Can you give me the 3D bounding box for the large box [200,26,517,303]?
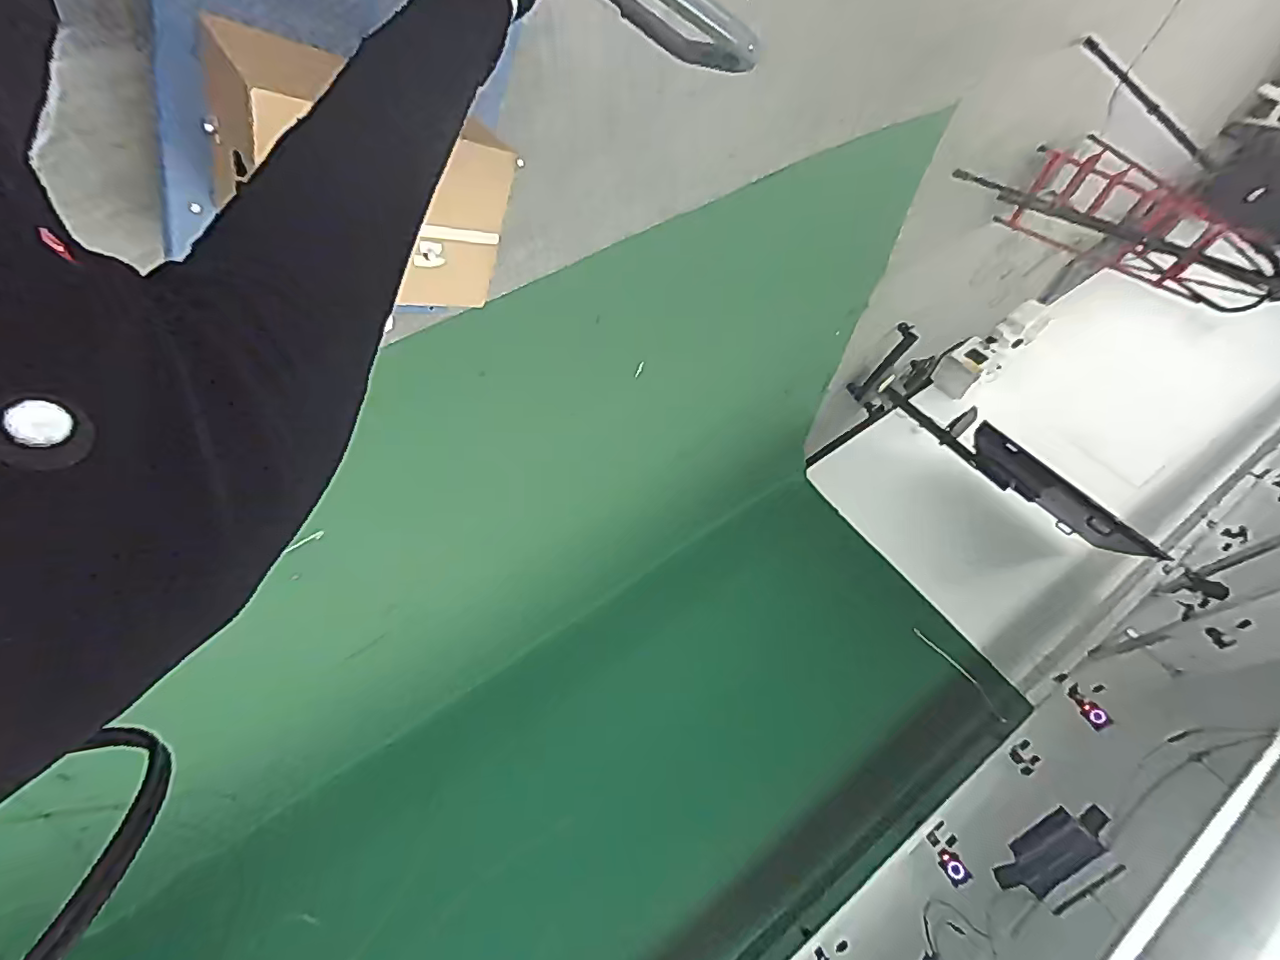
[{"bbox_3d":[-0.503,-0.545,0.992,0.408,0.320,0.320,-16,146,-42],"label":"large box"}]
